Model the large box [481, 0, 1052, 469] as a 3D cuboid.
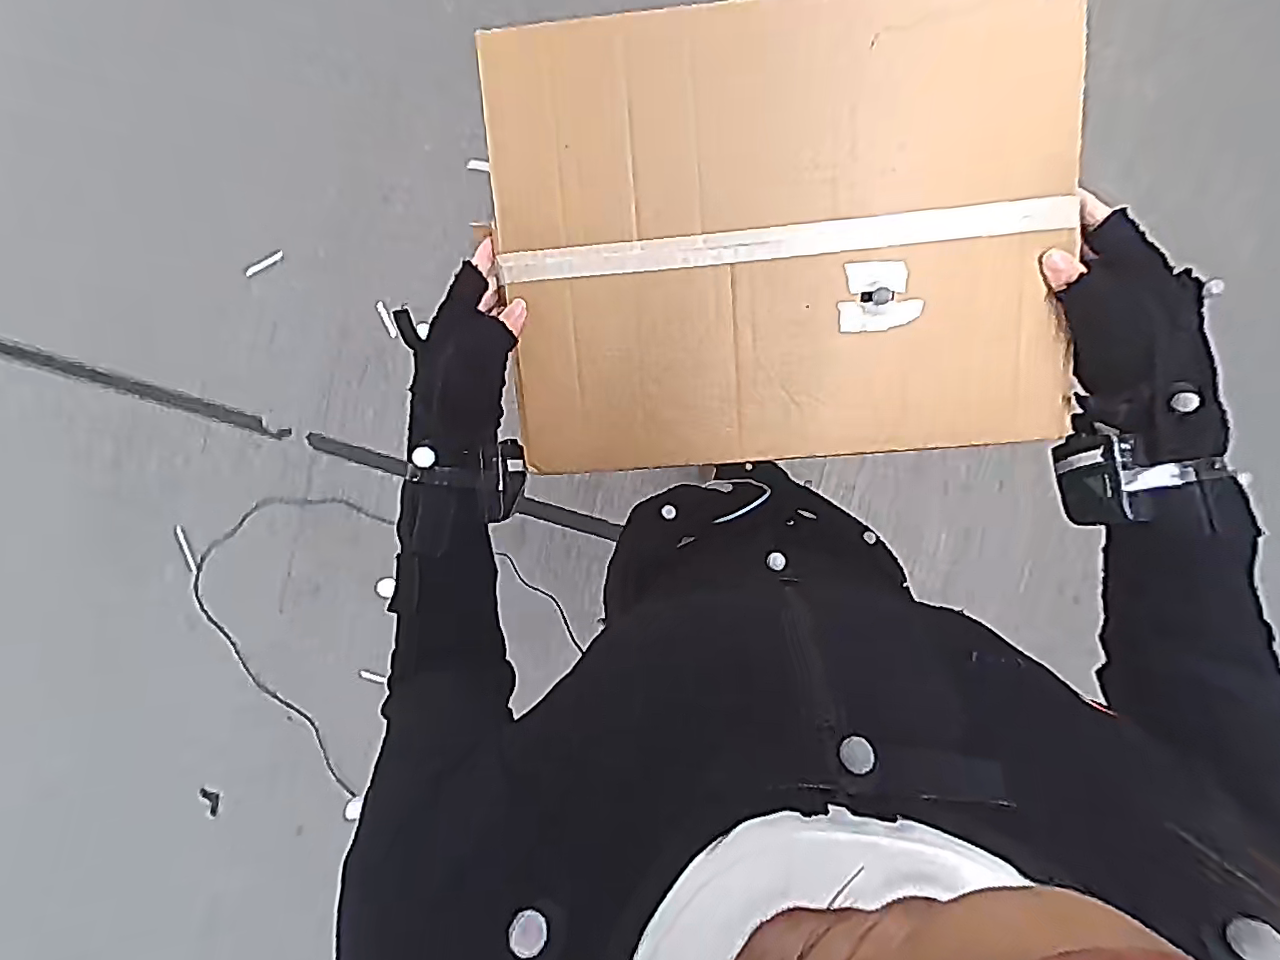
[{"bbox_3d":[0.101,-0.202,0.548,0.408,0.320,0.320,-5,100,3],"label":"large box"}]
